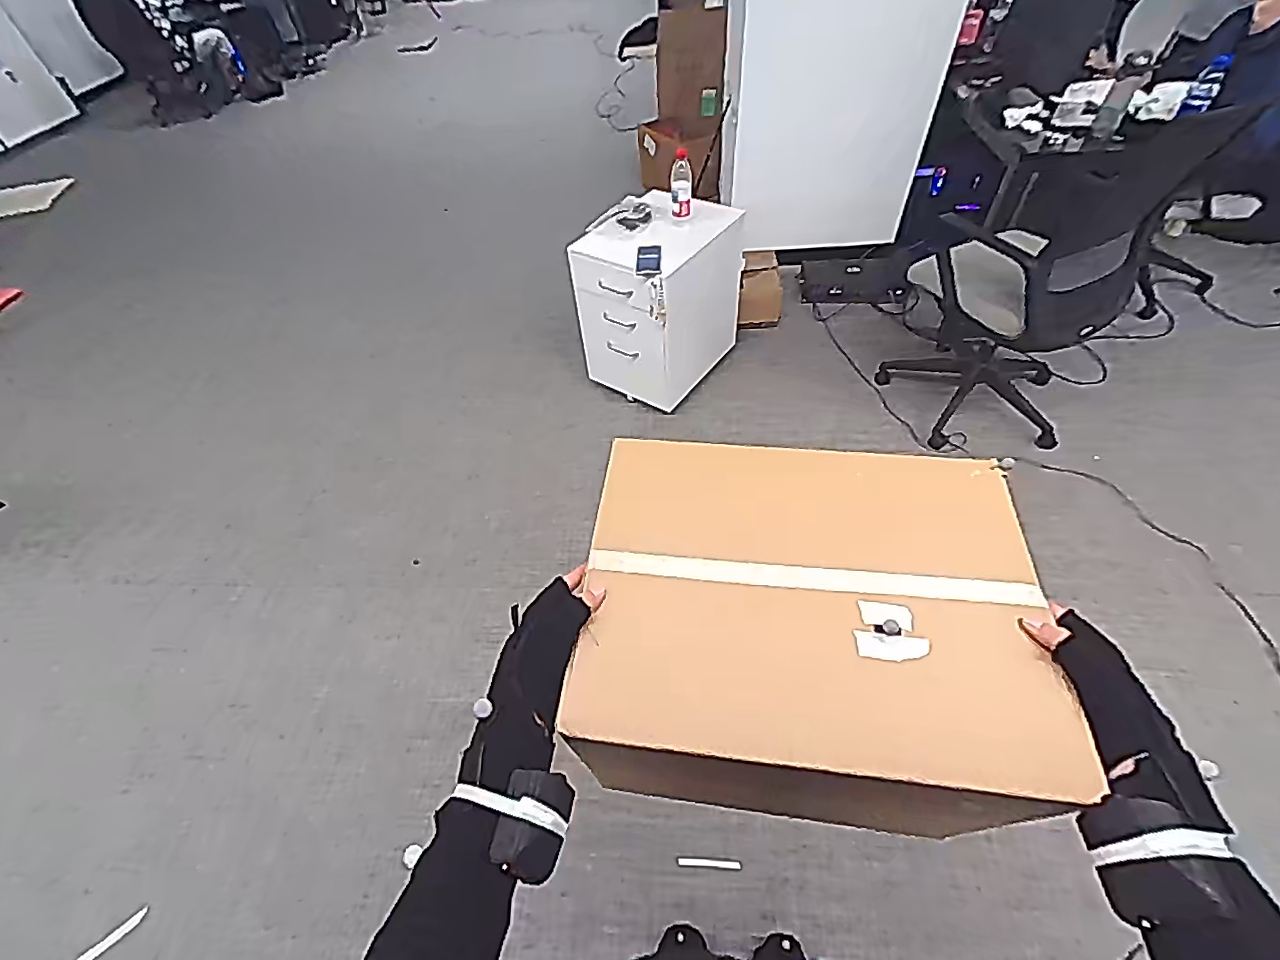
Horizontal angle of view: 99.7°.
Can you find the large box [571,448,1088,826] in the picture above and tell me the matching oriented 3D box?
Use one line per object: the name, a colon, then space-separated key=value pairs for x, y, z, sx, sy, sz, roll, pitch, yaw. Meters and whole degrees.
large box: x=0.162 y=0.184 z=0.627 sx=0.408 sy=0.320 sz=0.320 roll=4 pitch=55 yaw=7
